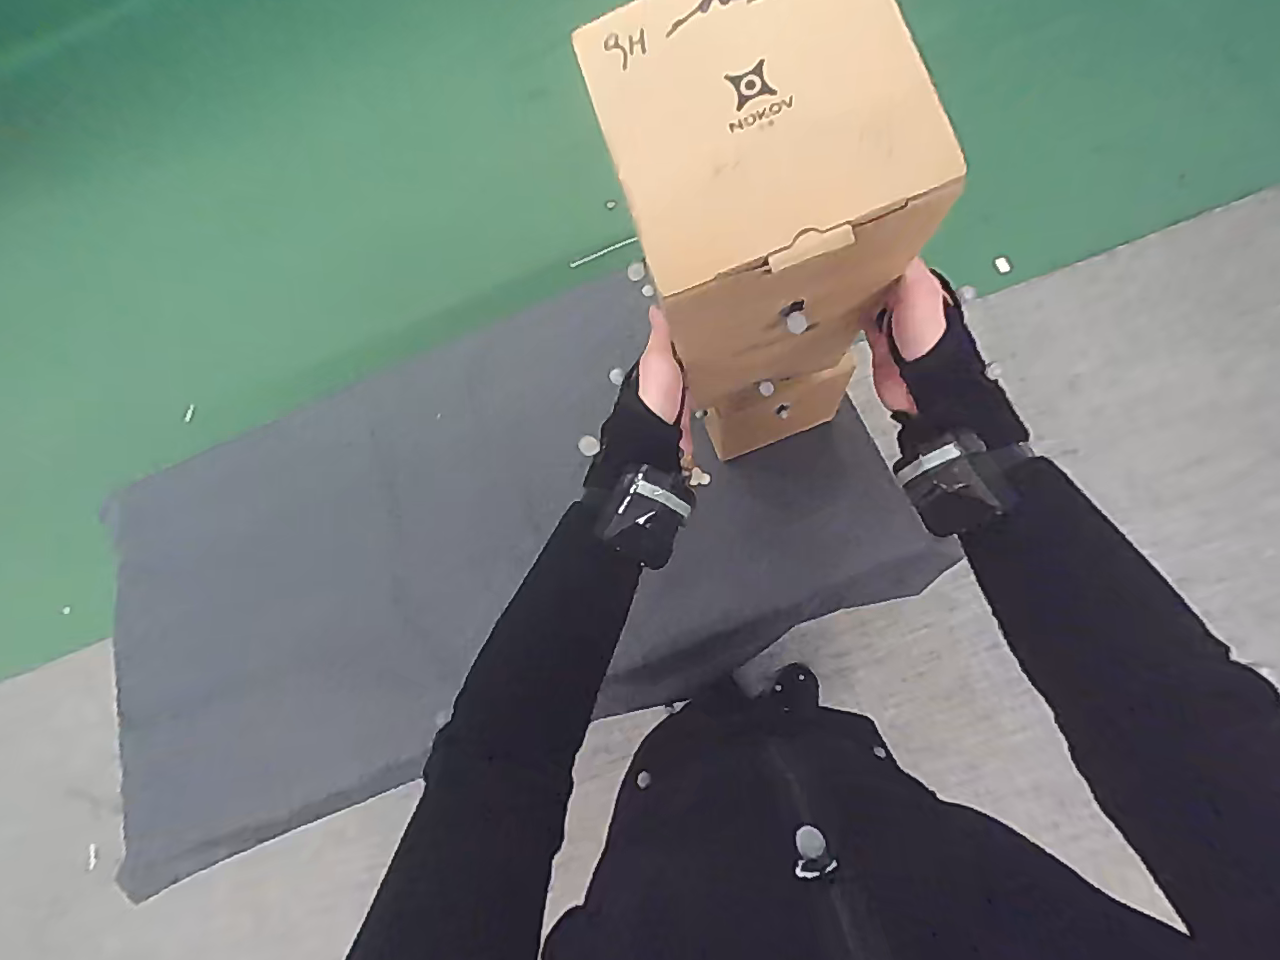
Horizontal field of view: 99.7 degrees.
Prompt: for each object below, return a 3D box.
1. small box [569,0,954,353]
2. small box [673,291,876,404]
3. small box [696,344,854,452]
[{"bbox_3d":[0.074,-0.202,0.372,0.168,0.176,0.179,-19,83,9],"label":"small box"},{"bbox_3d":[0.104,-0.194,0.532,0.168,0.176,0.179,-18,83,9],"label":"small box"},{"bbox_3d":[0.159,-0.157,0.734,0.179,0.176,0.168,-21,73,3],"label":"small box"}]
